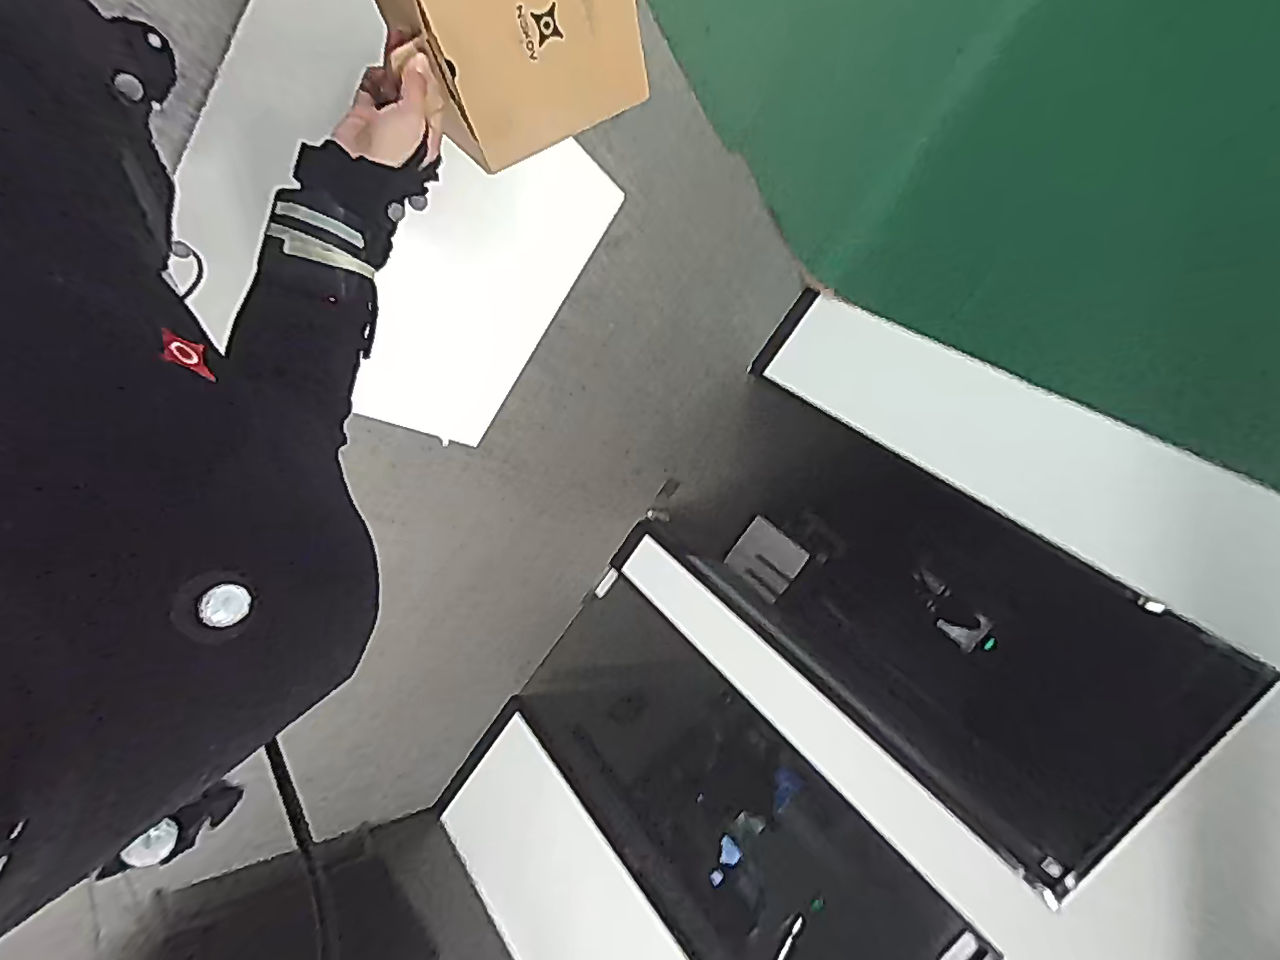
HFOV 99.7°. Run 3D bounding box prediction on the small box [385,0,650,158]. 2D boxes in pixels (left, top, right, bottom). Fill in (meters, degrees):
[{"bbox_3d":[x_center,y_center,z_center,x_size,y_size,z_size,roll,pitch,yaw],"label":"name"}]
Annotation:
[{"bbox_3d":[-0.119,-0.421,0.465,0.179,0.176,0.168,-34,148,-9],"label":"small box"}]
